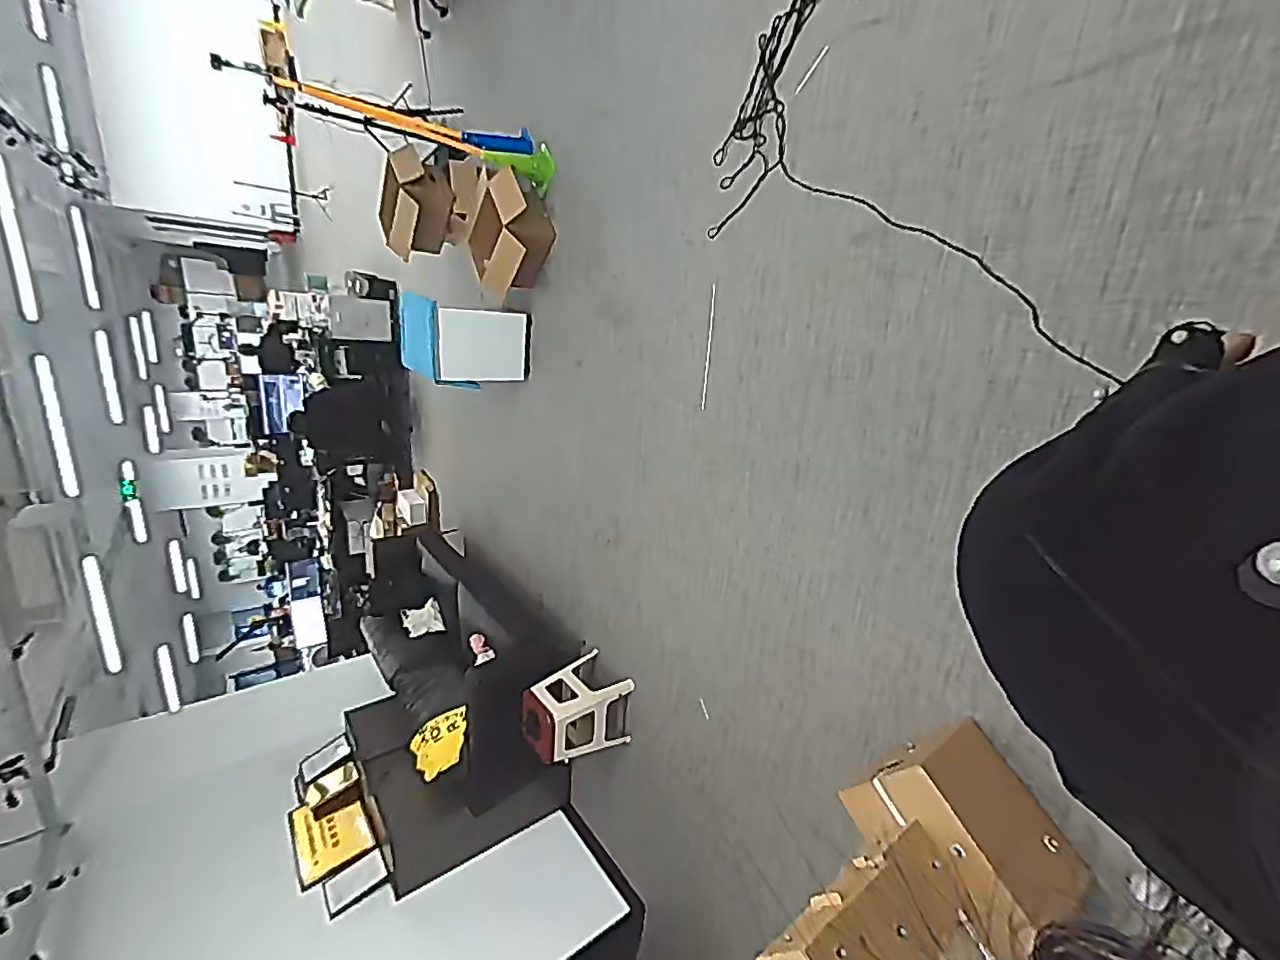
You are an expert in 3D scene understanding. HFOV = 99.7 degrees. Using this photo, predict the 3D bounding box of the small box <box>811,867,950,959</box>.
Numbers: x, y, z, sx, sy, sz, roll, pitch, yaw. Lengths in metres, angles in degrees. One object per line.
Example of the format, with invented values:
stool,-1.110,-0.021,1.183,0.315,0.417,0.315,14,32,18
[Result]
small box,0.516,0.973,1.166,0.179,0.176,0.168,58,137,27

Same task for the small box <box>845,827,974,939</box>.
small box,0.636,0.958,1.279,0.179,0.176,0.168,56,137,31

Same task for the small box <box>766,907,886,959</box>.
small box,0.384,0.991,1.073,0.168,0.176,0.179,57,138,29
